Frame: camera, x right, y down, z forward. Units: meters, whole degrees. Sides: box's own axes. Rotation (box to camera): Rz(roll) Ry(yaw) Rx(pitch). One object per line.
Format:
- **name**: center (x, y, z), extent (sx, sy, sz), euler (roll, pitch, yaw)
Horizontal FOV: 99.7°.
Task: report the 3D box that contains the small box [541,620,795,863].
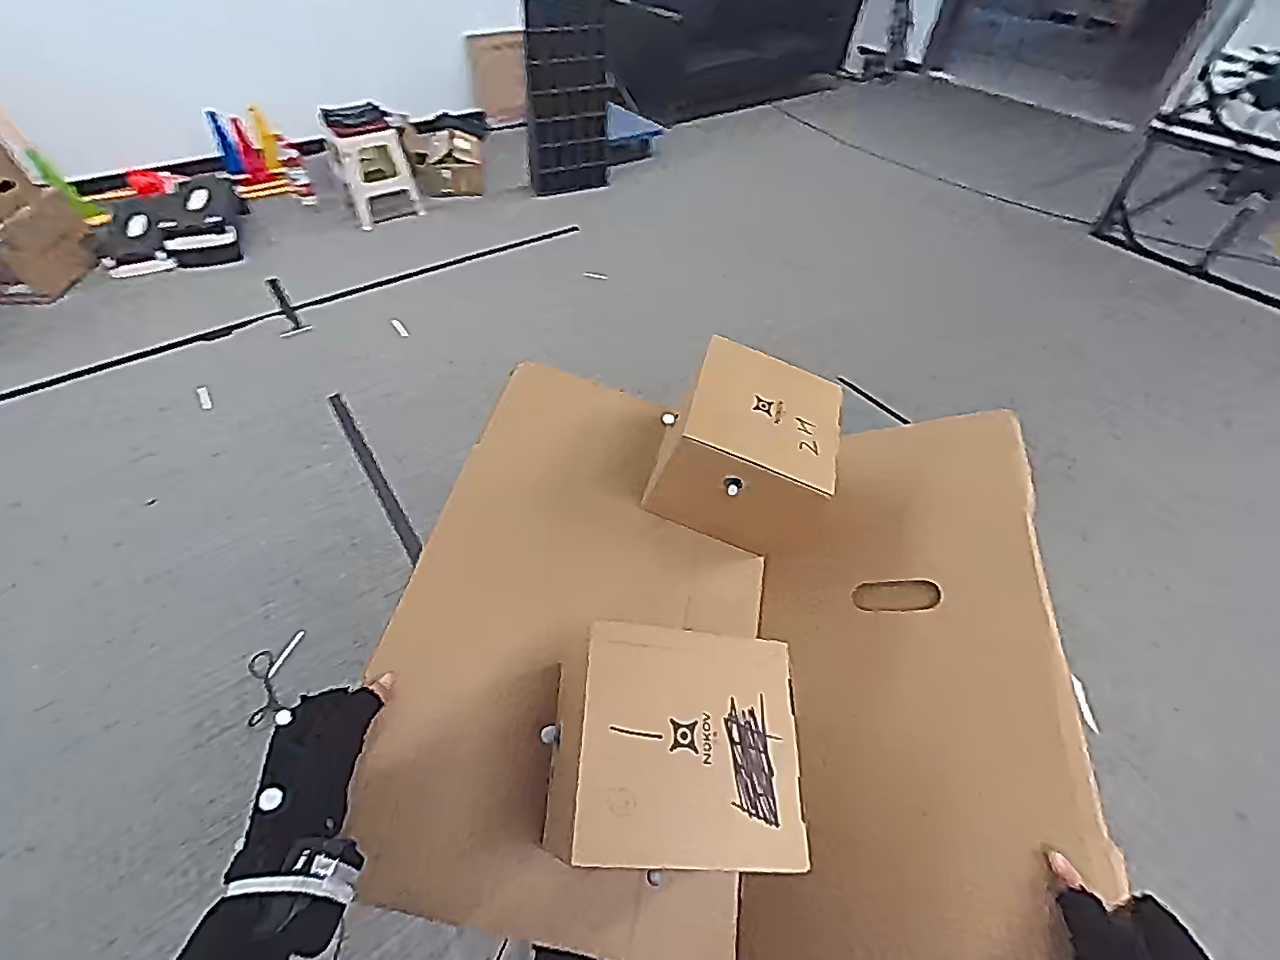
- **small box**: center (0.014, 0.238, 0.490), extent (0.179, 0.176, 0.168), euler (9, 58, -12)
